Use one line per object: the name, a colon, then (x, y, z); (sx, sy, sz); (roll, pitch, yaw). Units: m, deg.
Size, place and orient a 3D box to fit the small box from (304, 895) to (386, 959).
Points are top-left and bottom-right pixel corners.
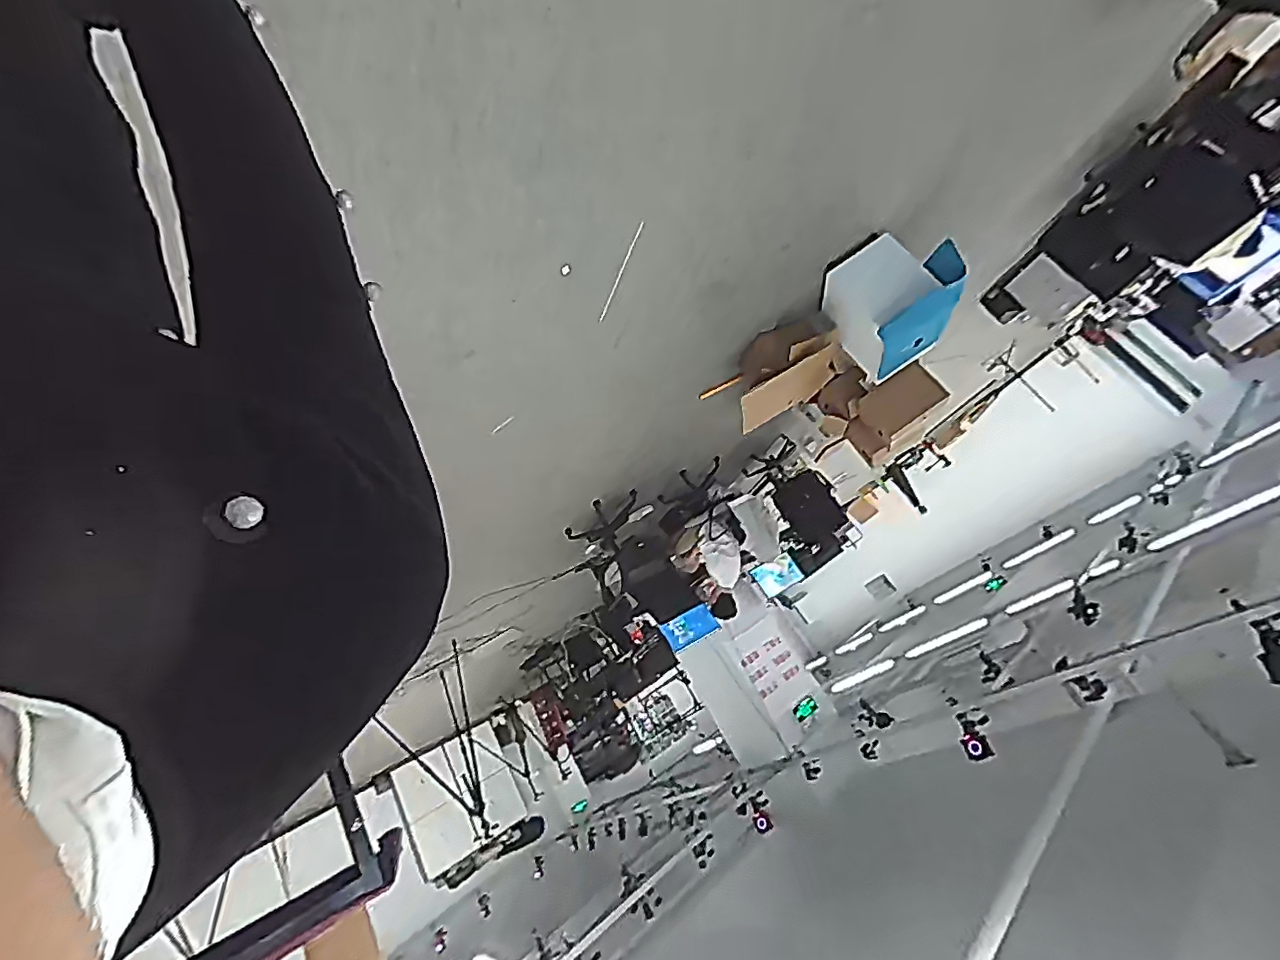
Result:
small box: (-0.891, 1.392, 1.631); (0.179, 0.176, 0.168); (-16, 156, -36)
